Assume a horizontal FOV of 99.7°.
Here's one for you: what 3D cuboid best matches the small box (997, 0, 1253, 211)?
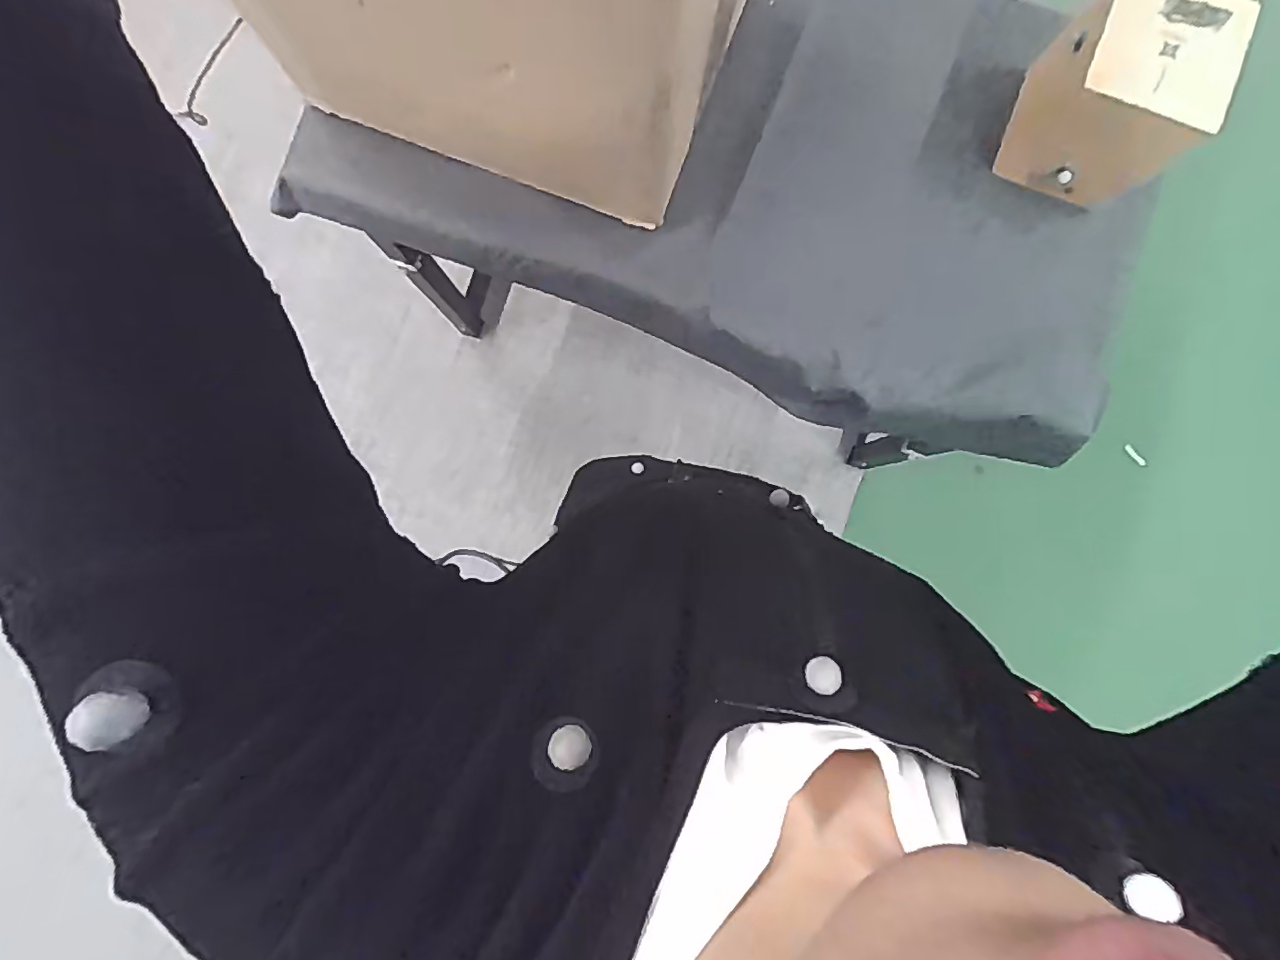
[{"bbox_3d":[0.621,-0.503,0.718,0.168,0.176,0.179,22,87,1],"label":"small box"}]
